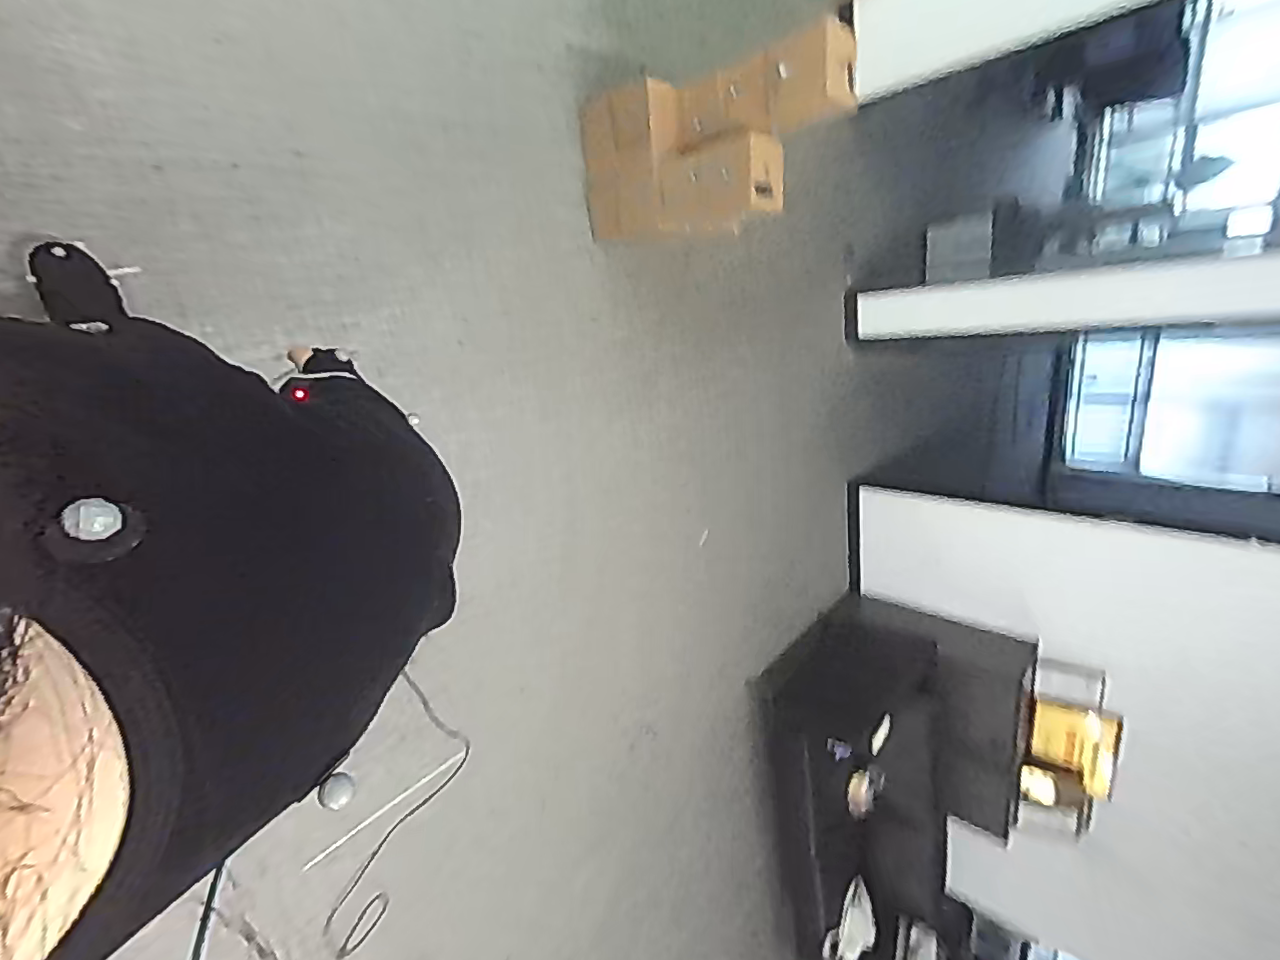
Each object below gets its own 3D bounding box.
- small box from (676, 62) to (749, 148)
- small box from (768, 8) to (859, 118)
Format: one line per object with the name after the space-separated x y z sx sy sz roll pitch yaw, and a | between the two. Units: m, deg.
0.221 -1.119 1.636 0.179 0.176 0.168 -22 113 -43 | small box
0.449 -1.070 1.406 0.179 0.176 0.168 -21 112 -41 | small box
